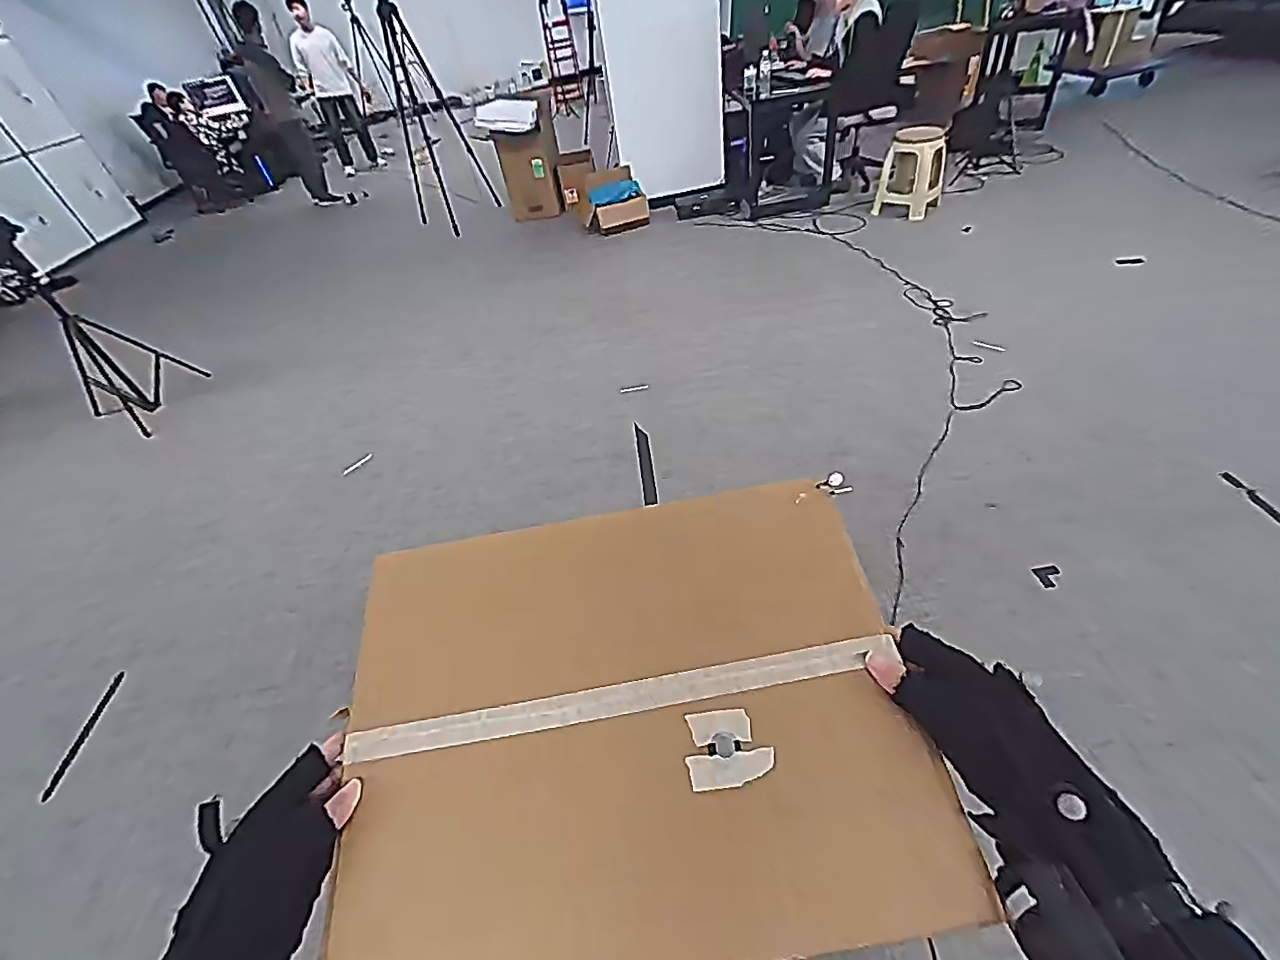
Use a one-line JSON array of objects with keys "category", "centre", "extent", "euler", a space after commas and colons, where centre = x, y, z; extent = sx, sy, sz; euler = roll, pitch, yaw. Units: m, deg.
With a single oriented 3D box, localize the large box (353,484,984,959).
[{"category": "large box", "centre": [0.007, 0.247, 0.532], "extent": [0.408, 0.320, 0.320], "euler": [-10, 57, -1]}]
